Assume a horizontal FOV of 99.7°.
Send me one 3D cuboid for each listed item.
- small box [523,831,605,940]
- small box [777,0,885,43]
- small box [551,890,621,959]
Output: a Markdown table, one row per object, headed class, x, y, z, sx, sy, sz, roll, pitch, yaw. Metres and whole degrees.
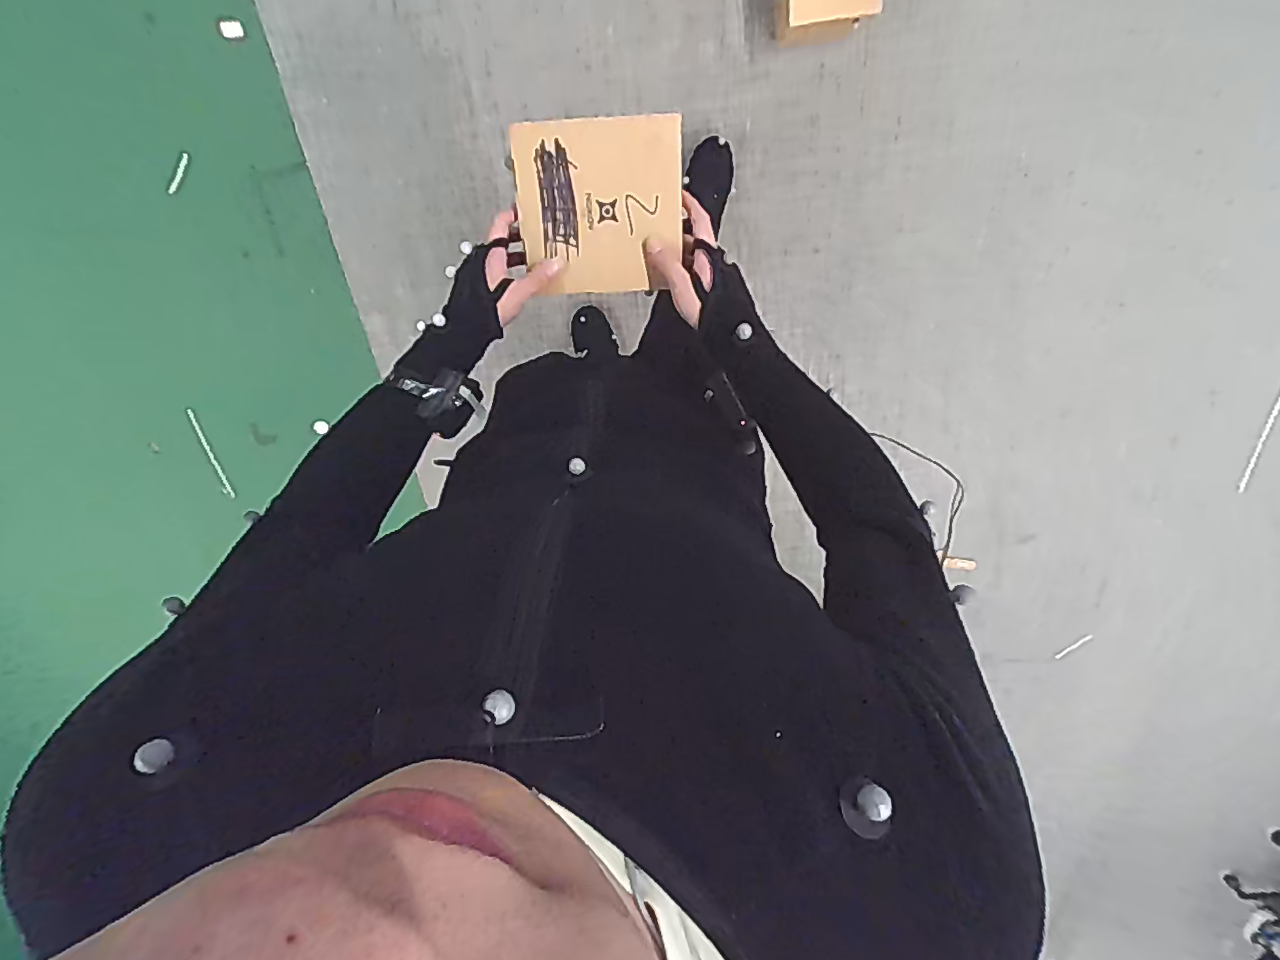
| class | x | y | z | sx | sy | sz | roll | pitch | yaw |
| --- | --- | --- | --- | --- | --- | --- | --- | --- | --- |
| small box | -0.178 | 0.996 | 1.333 | 0.179 | 0.176 | 0.168 | -1 | 119 | 2 |
| small box | 0.367 | -0.986 | 1.057 | 0.179 | 0.176 | 0.168 | -5 | 118 | 5 |
| small box | -0.141 | 1.233 | 1.461 | 0.168 | 0.176 | 0.179 | 1 | 119 | 3 |
